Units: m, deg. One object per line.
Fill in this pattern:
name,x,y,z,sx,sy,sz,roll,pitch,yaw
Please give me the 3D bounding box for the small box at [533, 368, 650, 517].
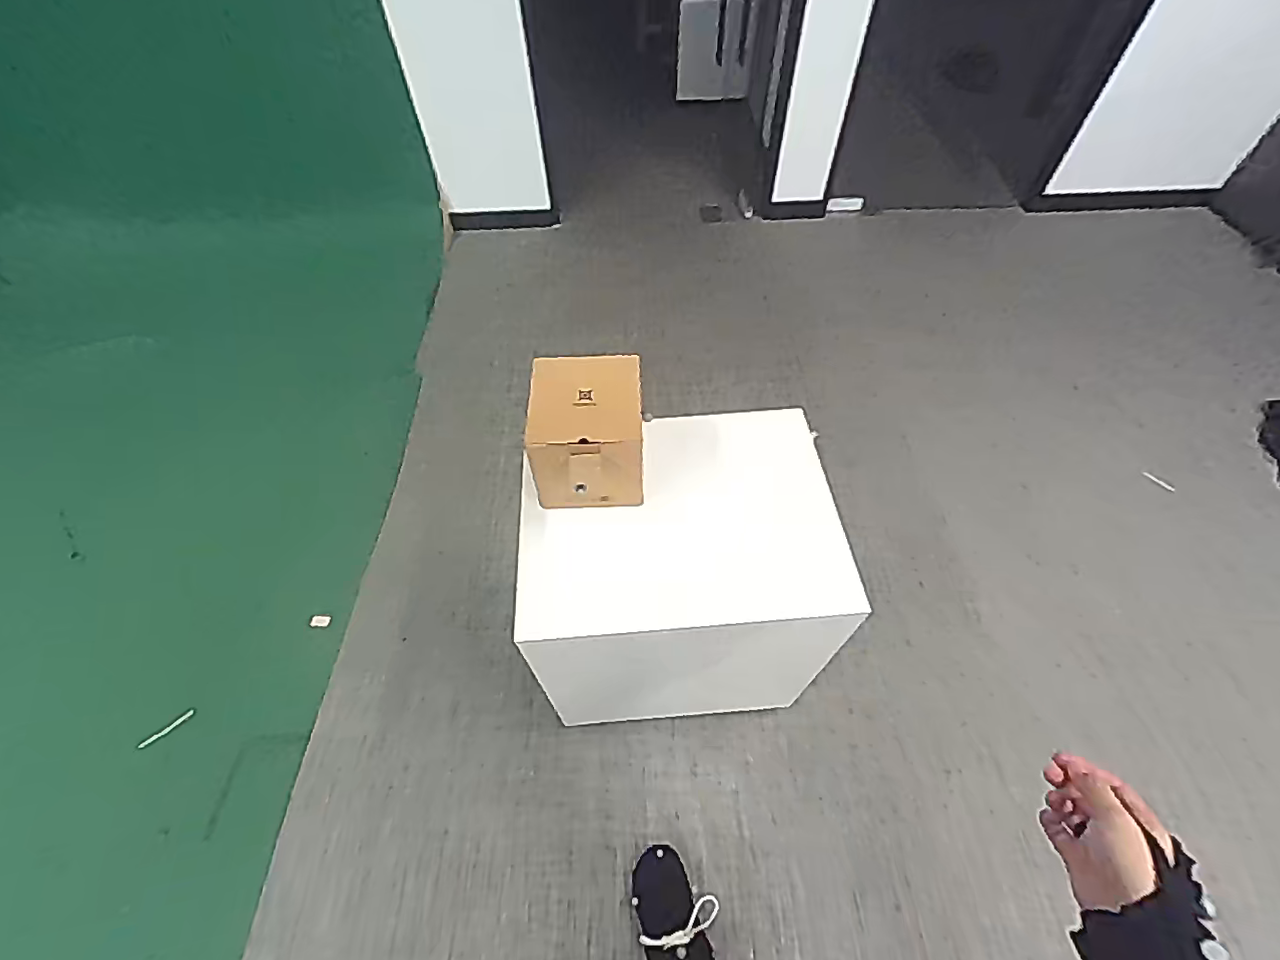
small box,-0.070,-0.058,0.861,0.168,0.176,0.179,-1,55,-1
